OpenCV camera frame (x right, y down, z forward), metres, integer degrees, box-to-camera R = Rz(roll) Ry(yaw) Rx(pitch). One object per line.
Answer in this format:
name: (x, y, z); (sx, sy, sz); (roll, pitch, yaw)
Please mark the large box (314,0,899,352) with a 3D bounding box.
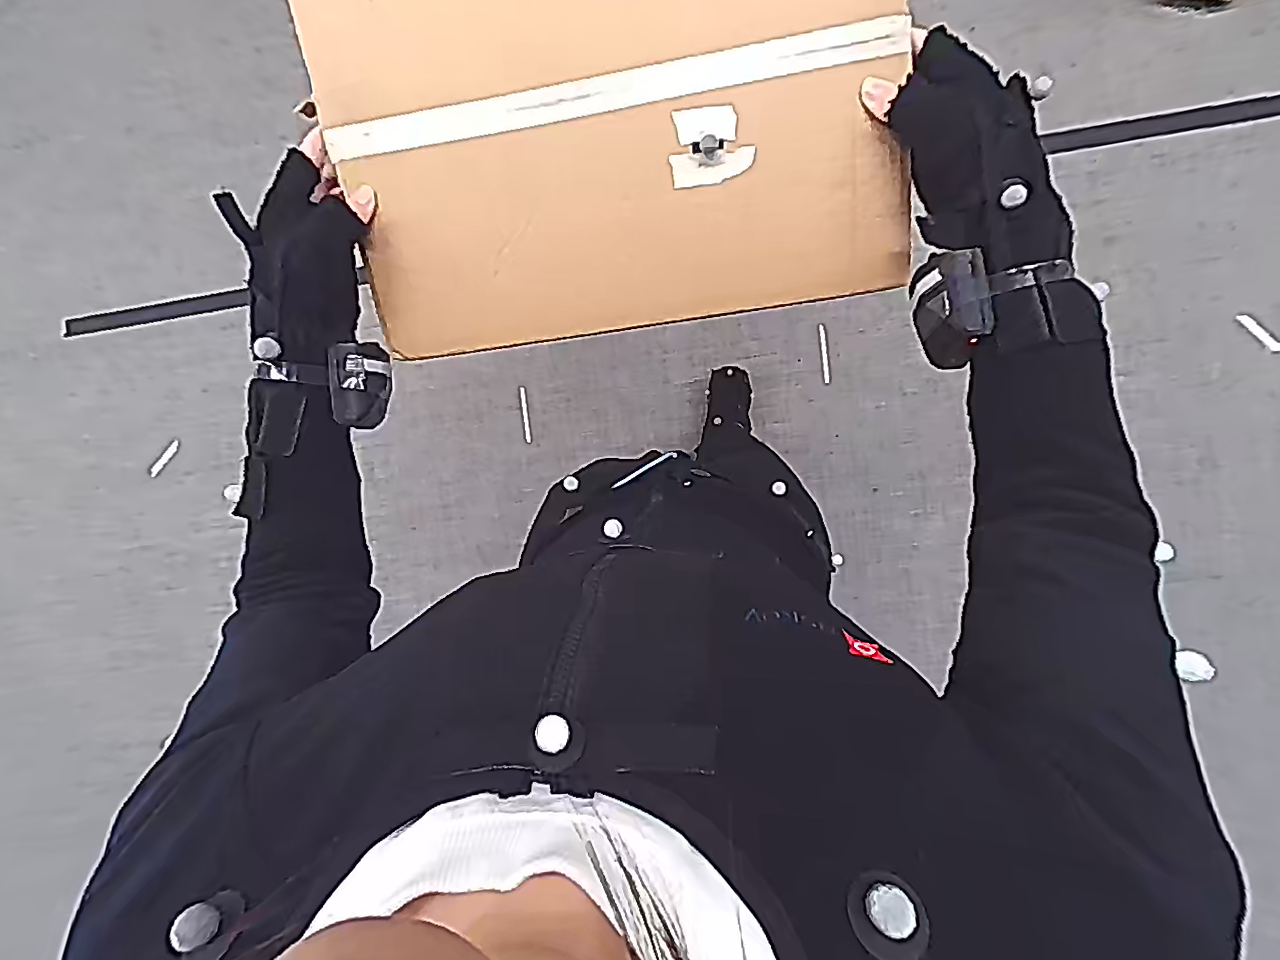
large box: (-0.015, -0.322, 0.530); (0.408, 0.320, 0.320); (-7, 108, 5)
